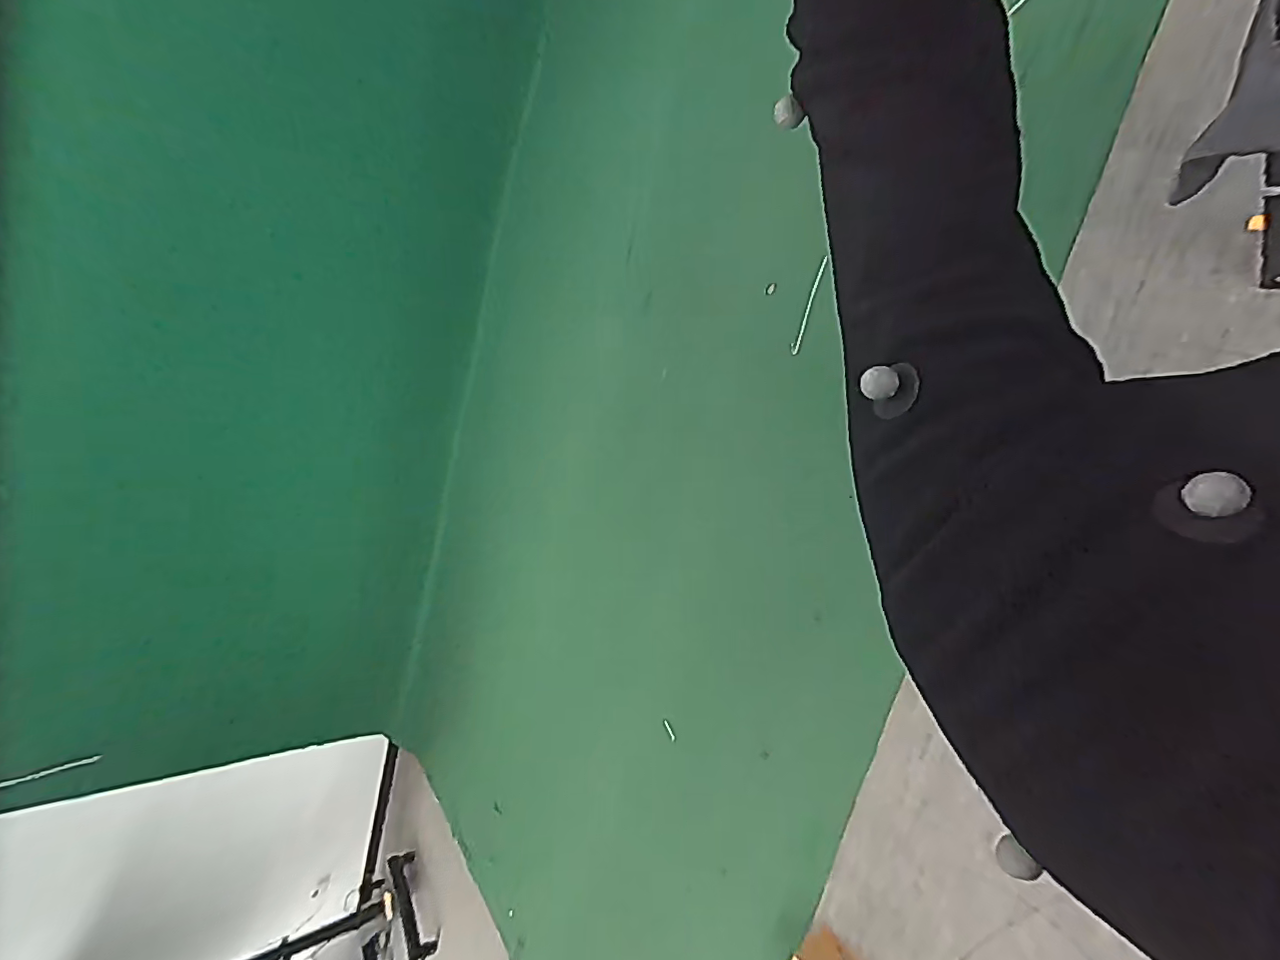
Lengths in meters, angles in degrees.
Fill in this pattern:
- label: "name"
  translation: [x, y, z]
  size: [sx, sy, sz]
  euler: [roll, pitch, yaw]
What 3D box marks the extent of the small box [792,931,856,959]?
- label: "small box"
  translation: [0.498, 1.381, 1.449]
  size: [0.168, 0.176, 0.179]
  euler: [25, 104, 46]
